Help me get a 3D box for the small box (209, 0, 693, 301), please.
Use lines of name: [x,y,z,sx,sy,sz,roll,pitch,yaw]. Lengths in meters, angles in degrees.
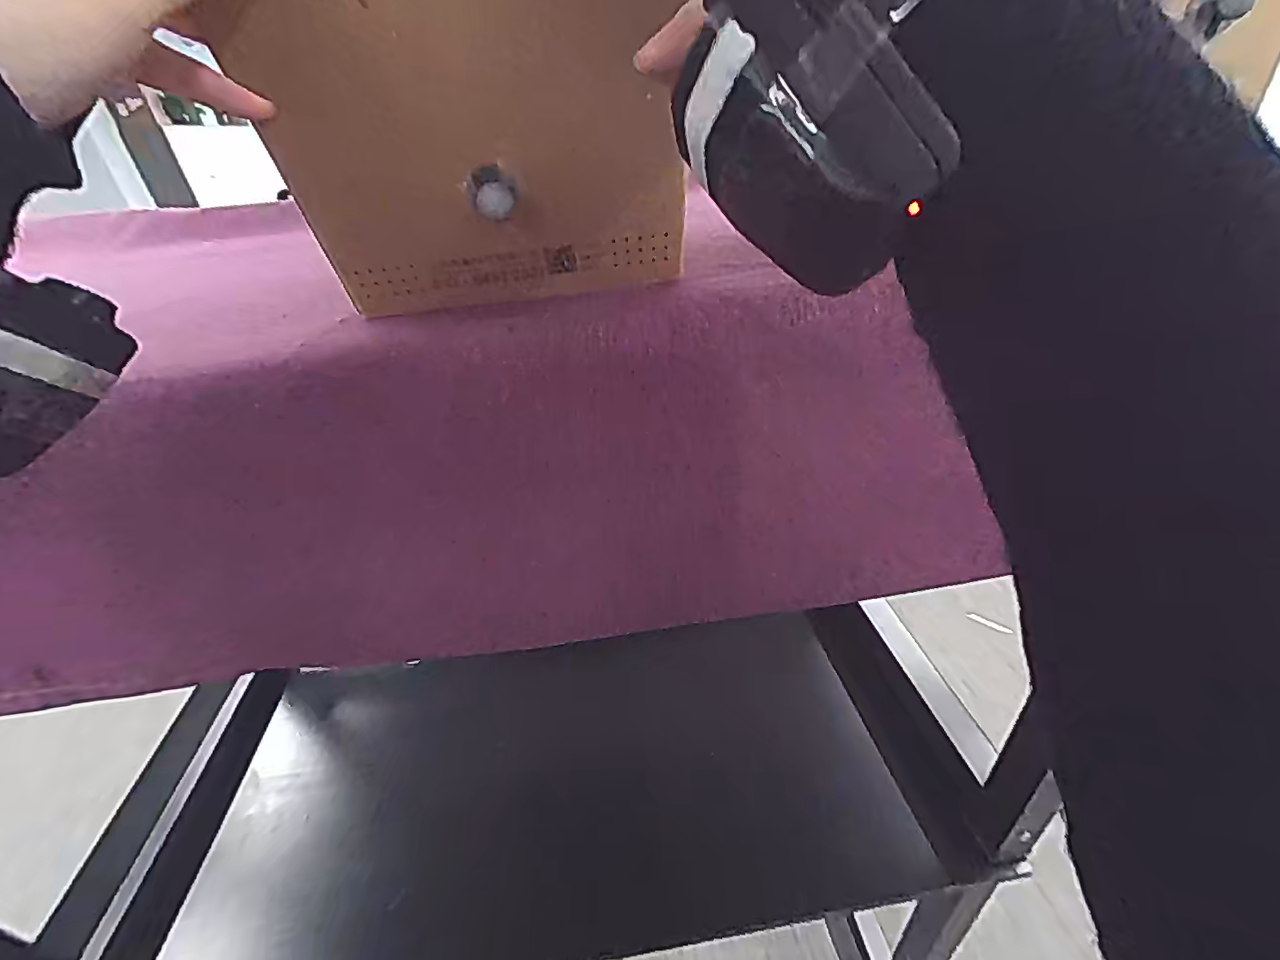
small box: [-0.073,-0.209,0.247,0.168,0.176,0.179,-8,55,-3]
